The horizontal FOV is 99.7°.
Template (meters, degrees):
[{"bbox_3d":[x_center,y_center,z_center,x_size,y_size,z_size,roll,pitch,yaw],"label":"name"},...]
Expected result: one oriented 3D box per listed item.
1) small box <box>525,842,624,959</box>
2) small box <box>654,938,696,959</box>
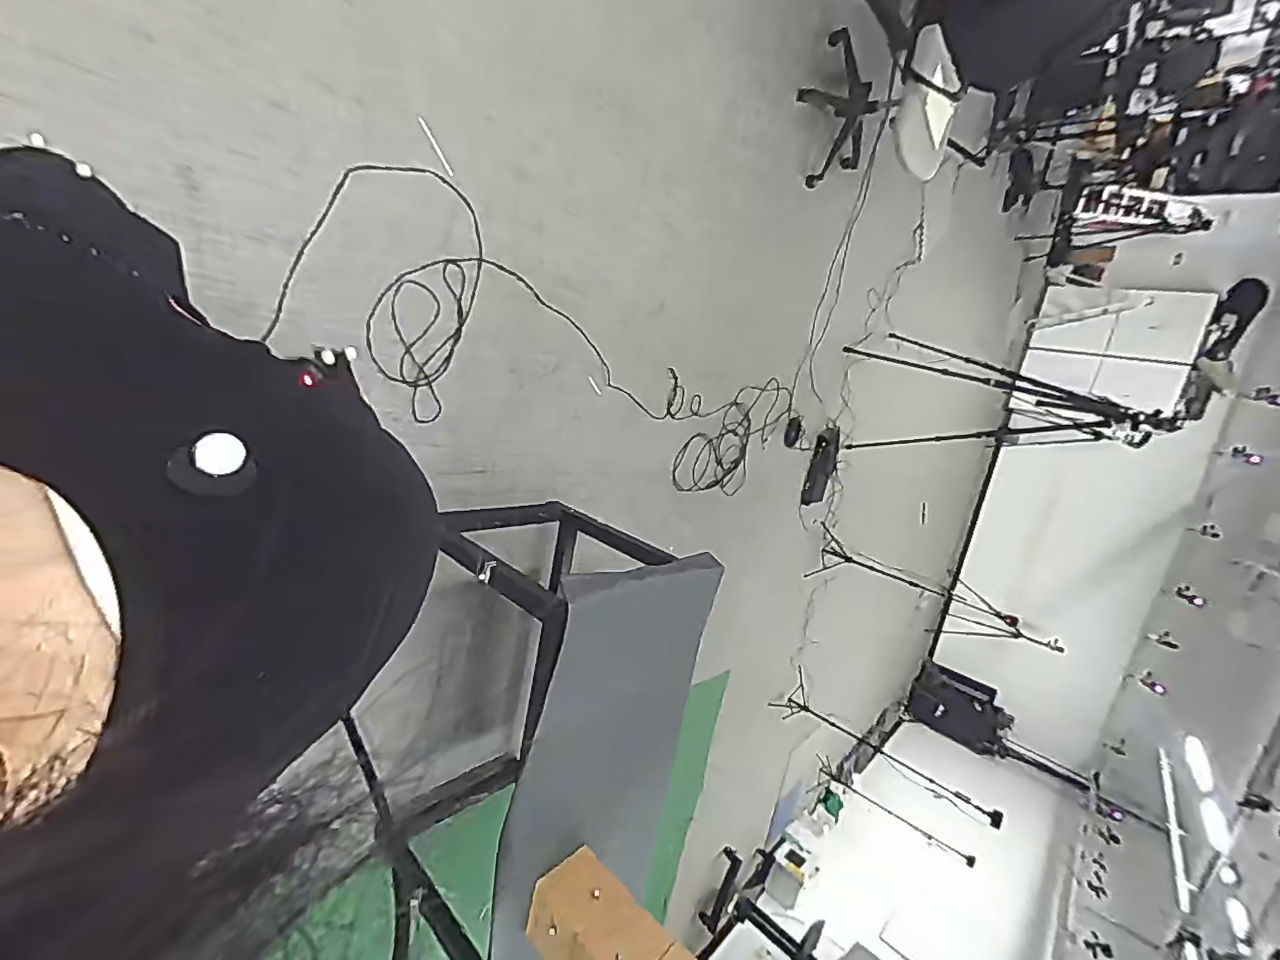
[{"bbox_3d":[-0.171,1.091,1.389,0.179,0.176,0.168,-3,108,-50],"label":"small box"},{"bbox_3d":[0.072,1.179,1.187,0.179,0.176,0.168,-8,111,-49],"label":"small box"}]
